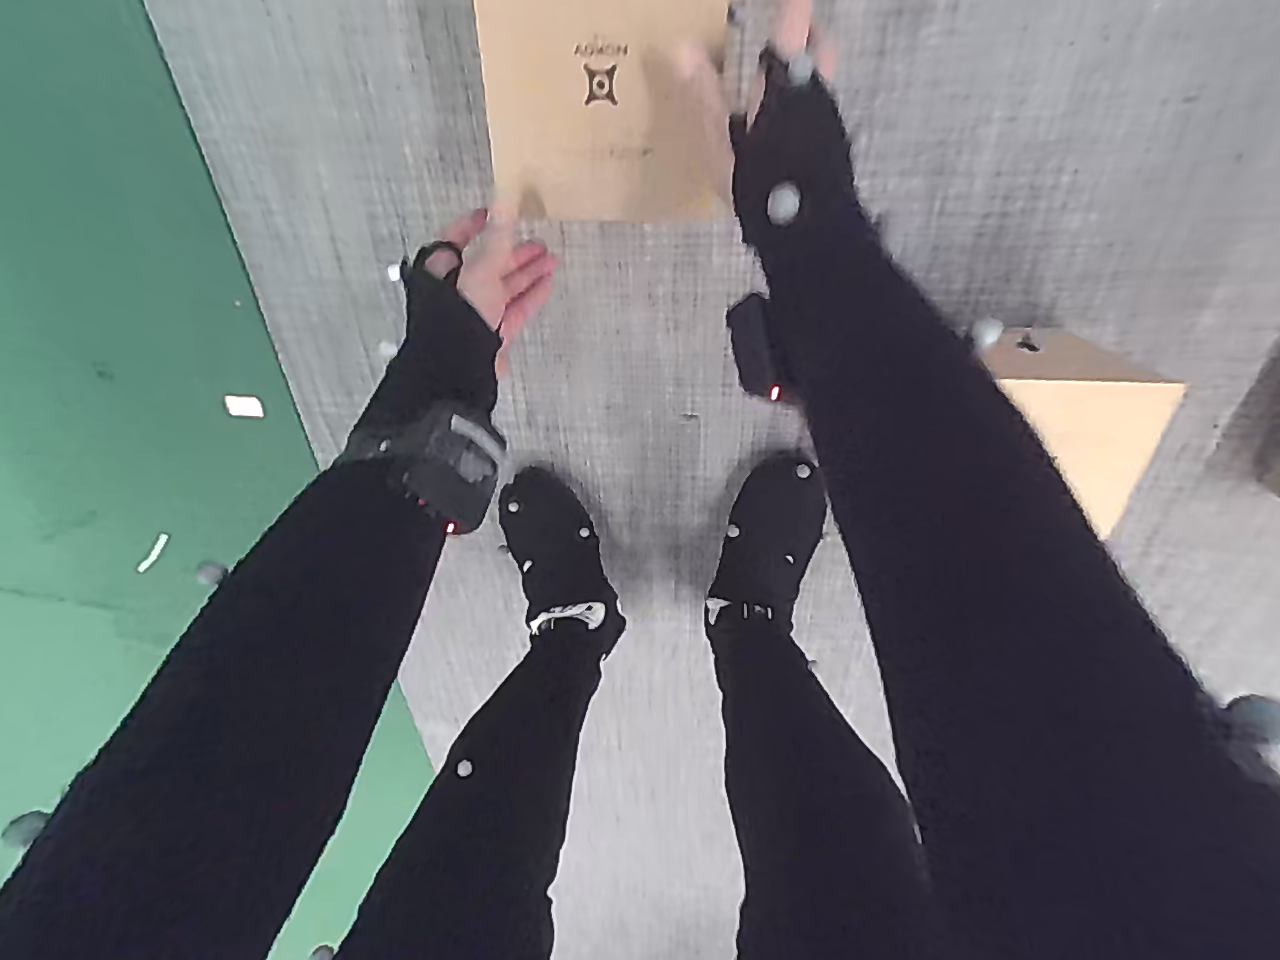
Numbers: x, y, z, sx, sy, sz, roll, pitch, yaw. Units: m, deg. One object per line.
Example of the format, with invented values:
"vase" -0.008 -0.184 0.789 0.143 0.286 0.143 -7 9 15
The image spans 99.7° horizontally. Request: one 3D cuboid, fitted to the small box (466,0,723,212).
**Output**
"small box" -0.023 -0.314 0.424 0.168 0.176 0.179 4 121 6
